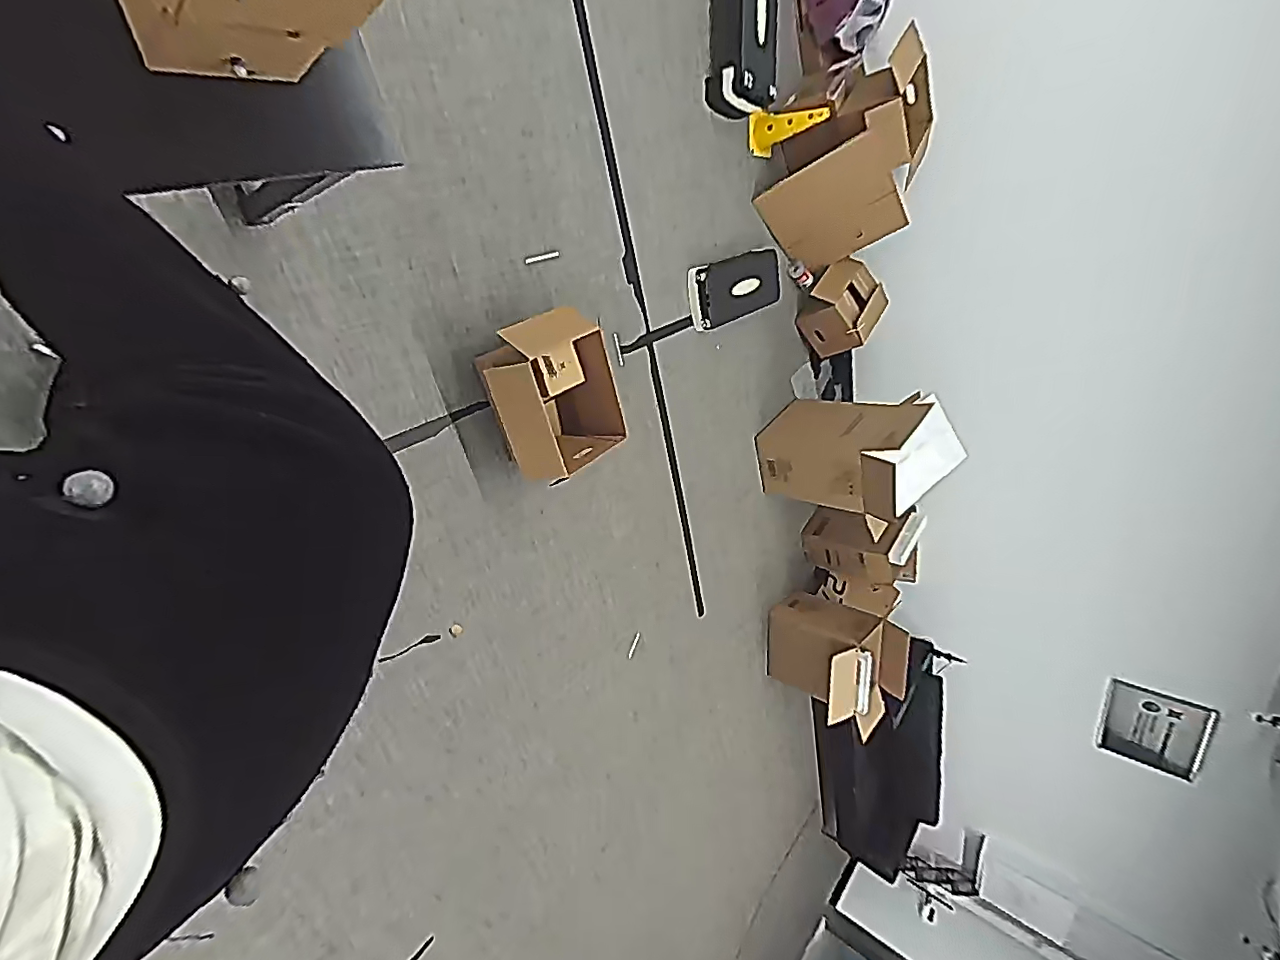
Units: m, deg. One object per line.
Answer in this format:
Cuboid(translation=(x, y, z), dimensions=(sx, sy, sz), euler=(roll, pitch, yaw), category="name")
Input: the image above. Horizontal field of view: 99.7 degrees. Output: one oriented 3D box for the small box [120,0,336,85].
Cuboid(translation=(-0.477, -0.575, 0.598), dimensions=(0.168, 0.176, 0.179), euler=(-29, 119, -39), category="small box")
